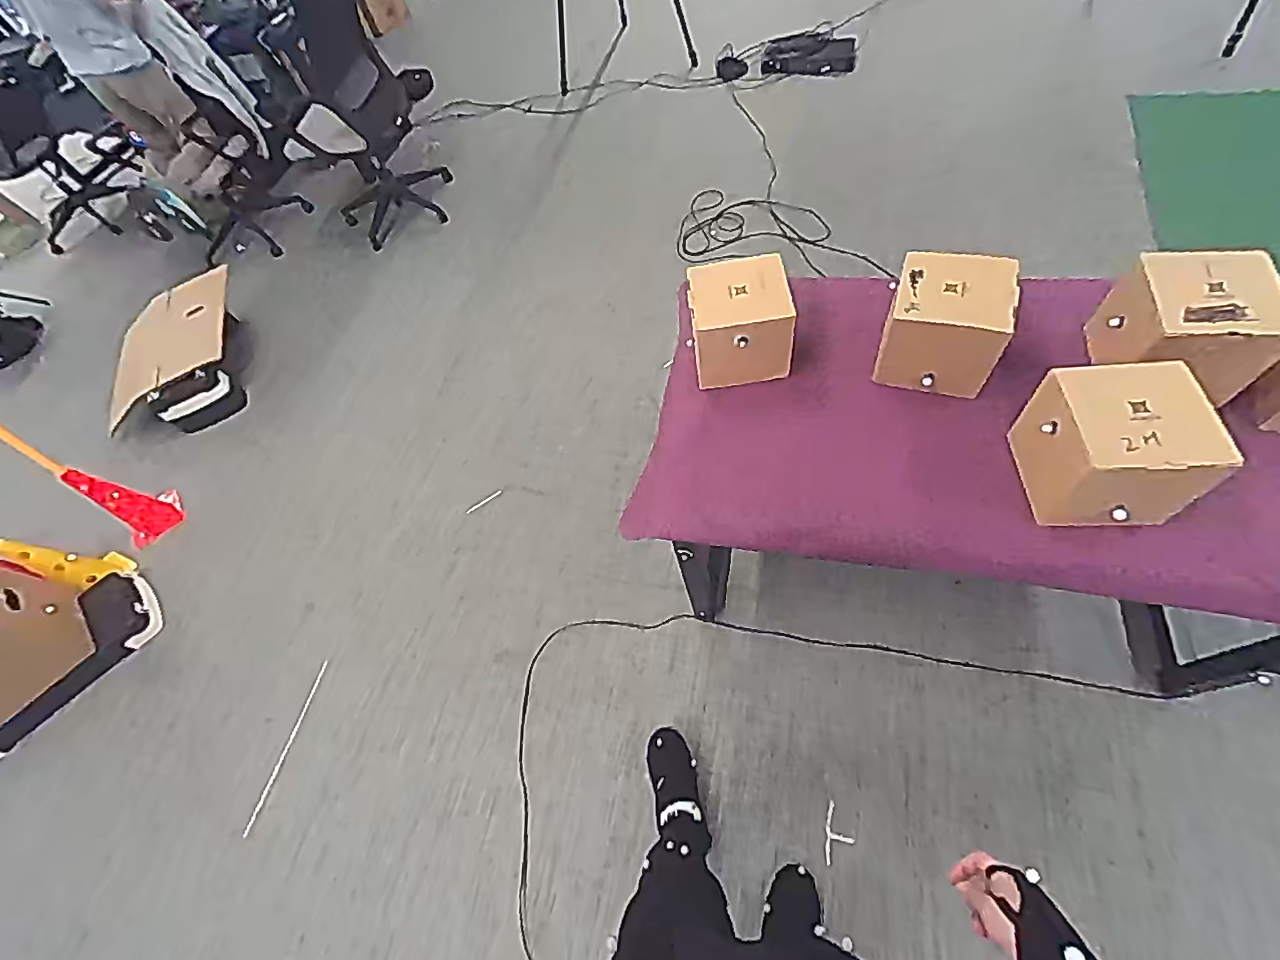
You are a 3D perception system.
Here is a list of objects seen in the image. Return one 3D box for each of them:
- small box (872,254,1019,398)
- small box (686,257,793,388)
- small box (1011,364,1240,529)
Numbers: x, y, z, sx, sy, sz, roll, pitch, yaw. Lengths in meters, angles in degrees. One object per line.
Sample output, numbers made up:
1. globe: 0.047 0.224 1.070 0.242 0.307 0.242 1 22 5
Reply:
1. small box: 0.528 -0.265 0.950 0.179 0.176 0.168 14 64 18
2. small box: 0.188 -0.293 1.035 0.179 0.176 0.168 -7 60 7
3. small box: 0.679 -0.044 0.789 0.168 0.176 0.179 -2 59 11
